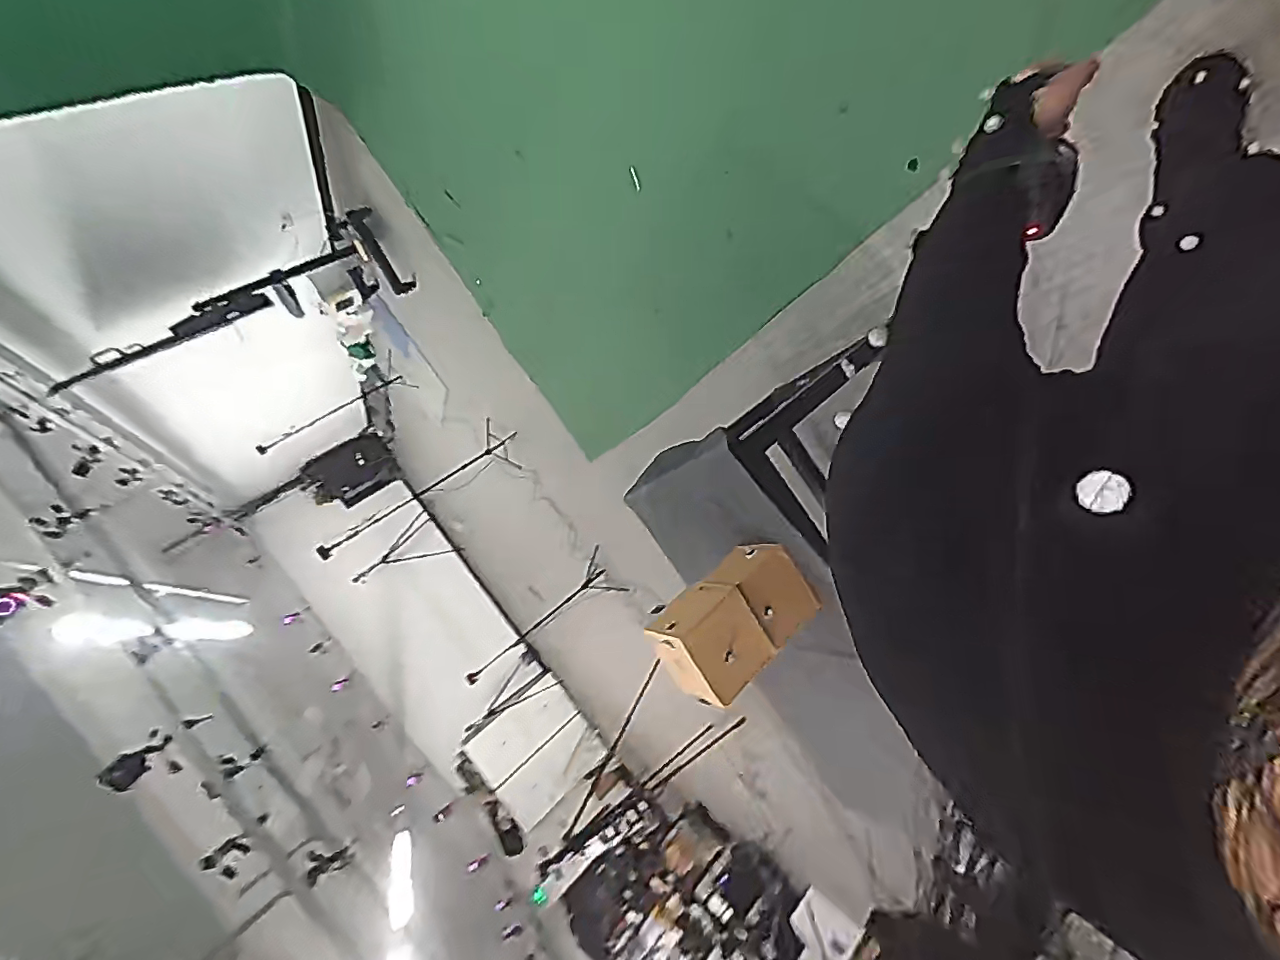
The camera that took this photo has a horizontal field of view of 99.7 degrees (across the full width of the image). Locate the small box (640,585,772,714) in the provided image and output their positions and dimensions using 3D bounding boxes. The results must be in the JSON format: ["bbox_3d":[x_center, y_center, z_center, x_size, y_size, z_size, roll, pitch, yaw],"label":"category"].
[{"bbox_3d":[0.139,0.342,1.122,0.179,0.176,0.168,57,153,-9],"label":"small box"}]

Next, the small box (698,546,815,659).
[{"bbox_3d":[0.257,0.268,1.212,0.179,0.176,0.168,57,152,-6],"label":"small box"}]
